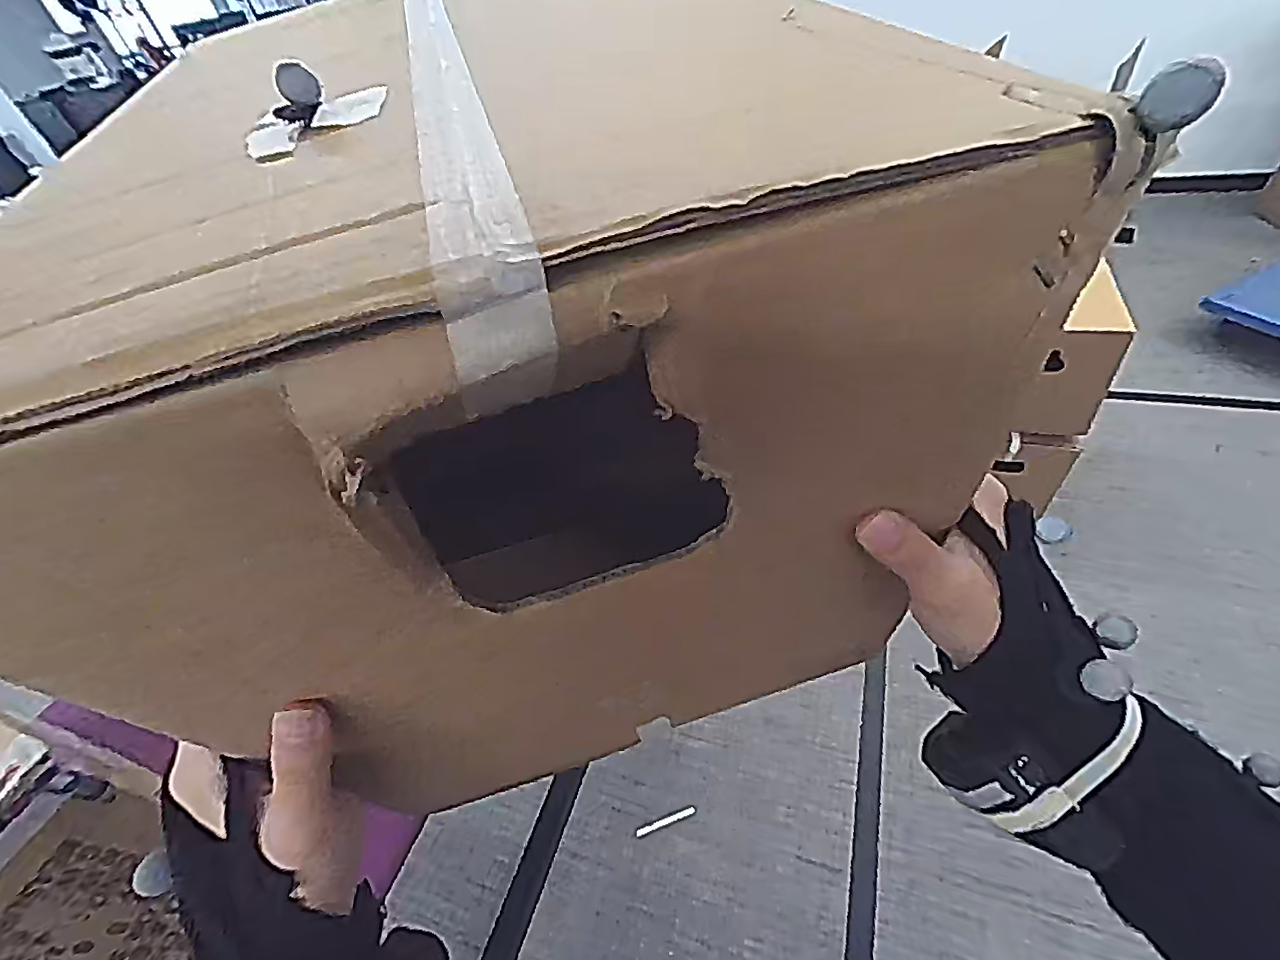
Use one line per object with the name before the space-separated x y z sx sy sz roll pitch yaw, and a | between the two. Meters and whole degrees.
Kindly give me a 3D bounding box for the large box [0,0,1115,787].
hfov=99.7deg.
large box | -0.063 -0.085 0.360 0.320 0.320 0.408 -18 51 -5
